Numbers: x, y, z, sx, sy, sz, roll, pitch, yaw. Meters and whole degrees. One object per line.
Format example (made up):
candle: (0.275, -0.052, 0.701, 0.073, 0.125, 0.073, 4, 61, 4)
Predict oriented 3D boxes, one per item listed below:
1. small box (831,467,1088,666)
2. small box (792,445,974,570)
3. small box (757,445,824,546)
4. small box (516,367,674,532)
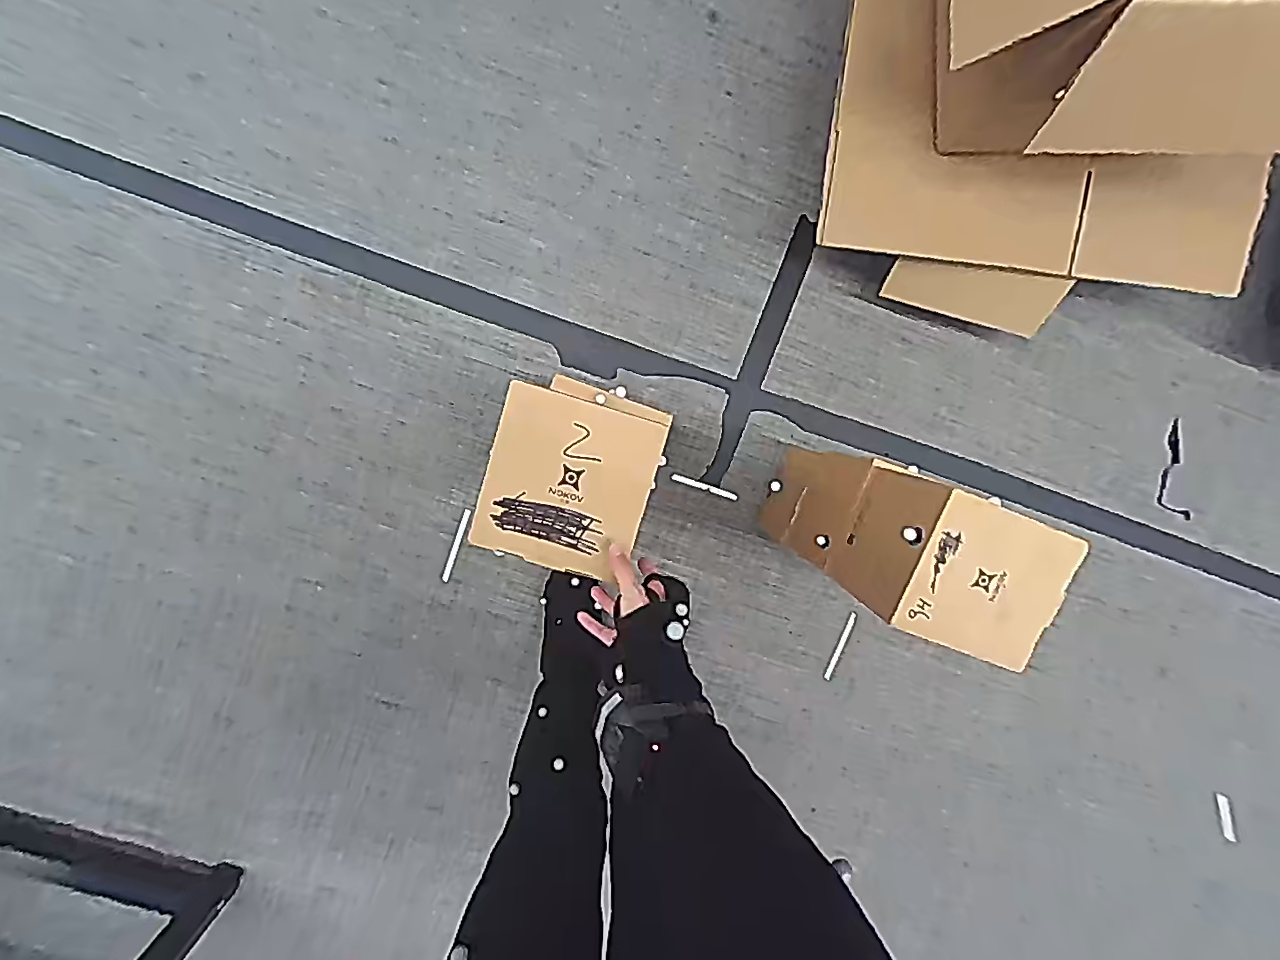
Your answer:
small box: (0.374, 0.093, 0.666, 0.179, 0.176, 0.168, 21, 97, -8)
small box: (0.356, 0.055, 0.825, 0.168, 0.176, 0.179, 19, 98, -7)
small box: (0.342, 0.043, 0.987, 0.179, 0.176, 0.168, 24, 96, -7)
small box: (-0.063, -0.047, 0.784, 0.168, 0.176, 0.179, 20, 95, -6)
